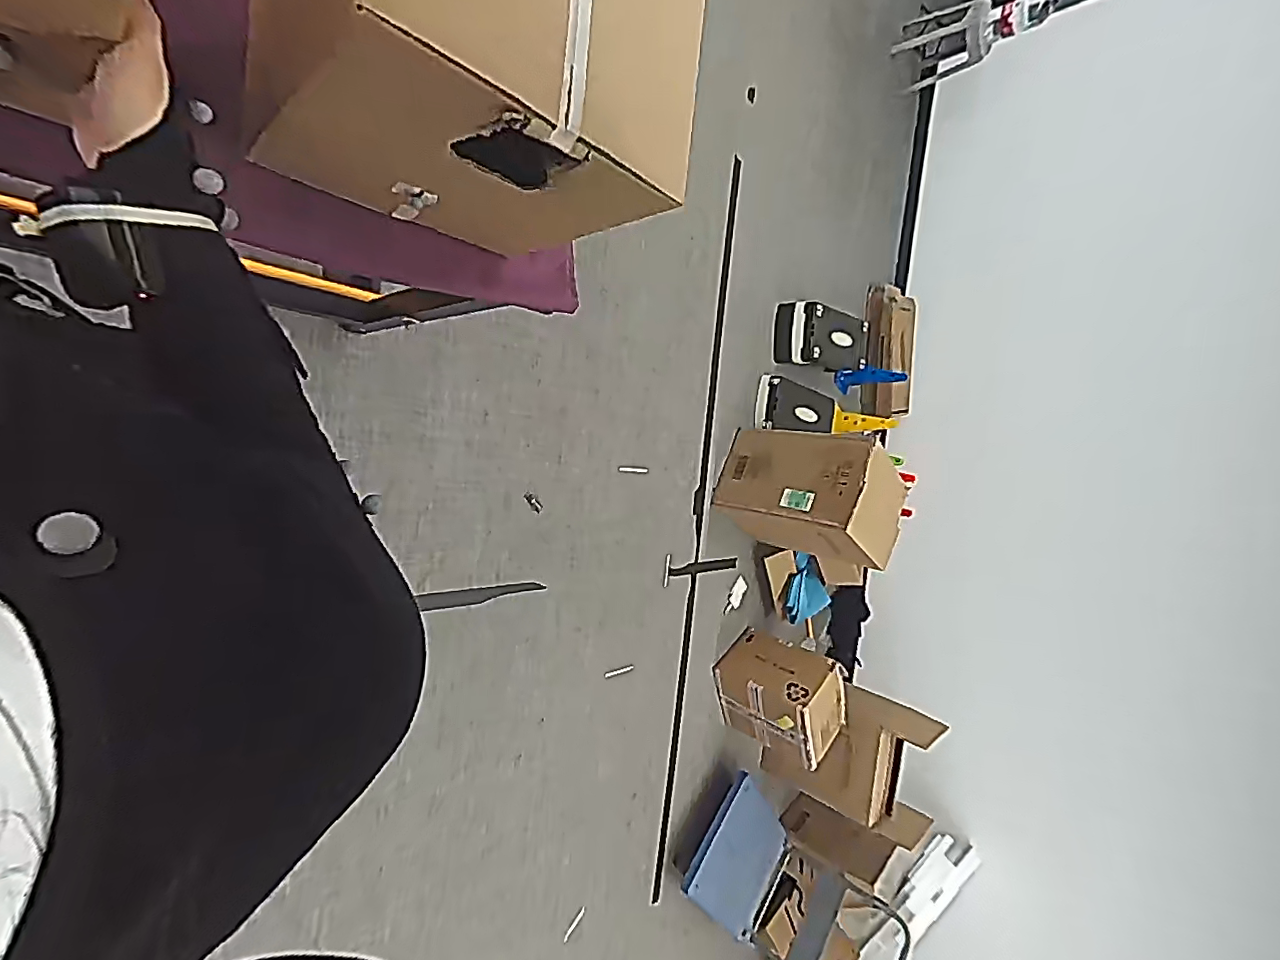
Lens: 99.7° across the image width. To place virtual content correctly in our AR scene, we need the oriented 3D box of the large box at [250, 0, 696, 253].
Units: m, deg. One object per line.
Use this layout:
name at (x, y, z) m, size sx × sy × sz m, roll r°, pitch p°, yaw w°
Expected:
large box at (-0.157, -0.489, 0.521) m, size 0.320 × 0.320 × 0.408 m, roll 1°, pitch 95°, yaw -48°
